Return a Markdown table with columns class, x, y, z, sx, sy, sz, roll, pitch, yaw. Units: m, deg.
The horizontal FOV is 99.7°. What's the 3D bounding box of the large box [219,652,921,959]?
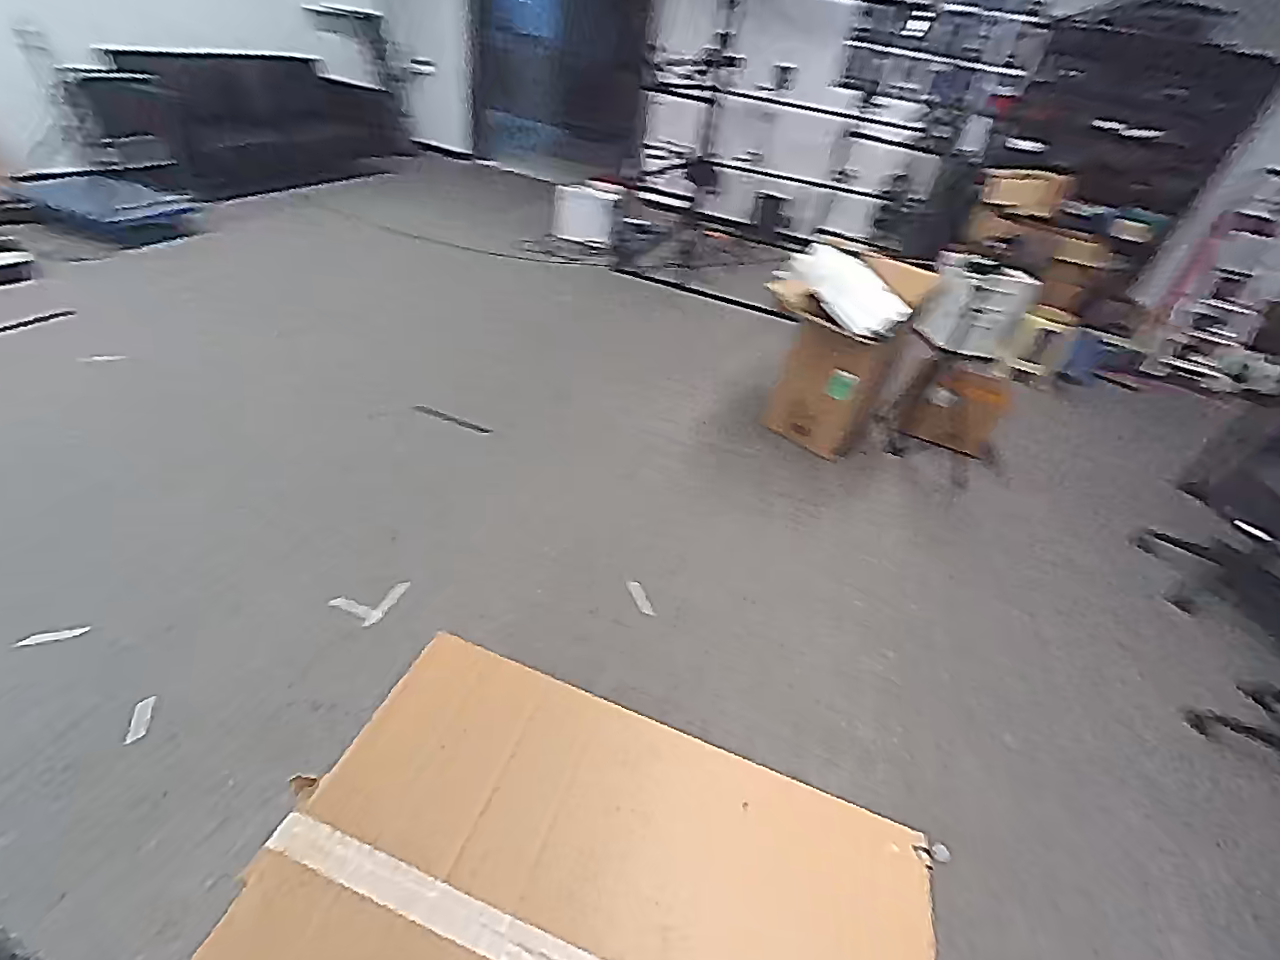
| class | x | y | z | sx | sy | sz | roll | pitch | yaw |
| --- | --- | --- | --- | --- | --- | --- | --- | --- | --- |
| large box | -0.056 | 0.402 | 0.409 | 0.408 | 0.320 | 0.320 | 20 | 42 | 7 |
